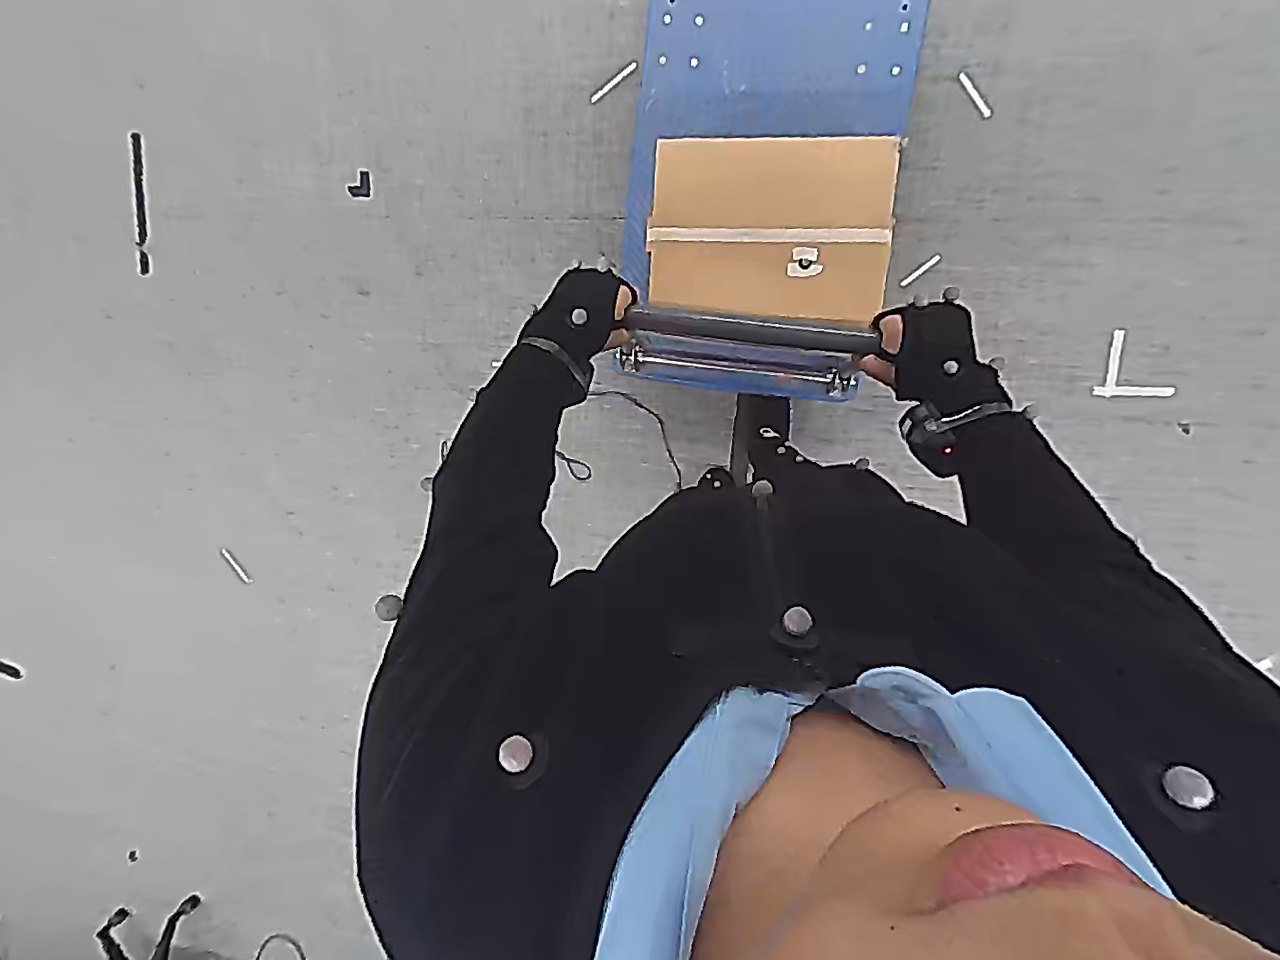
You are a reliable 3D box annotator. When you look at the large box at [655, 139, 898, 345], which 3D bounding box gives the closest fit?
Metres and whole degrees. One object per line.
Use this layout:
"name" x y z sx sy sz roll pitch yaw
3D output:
"large box" 0.245 -0.445 1.087 0.408 0.320 0.320 4 100 7
